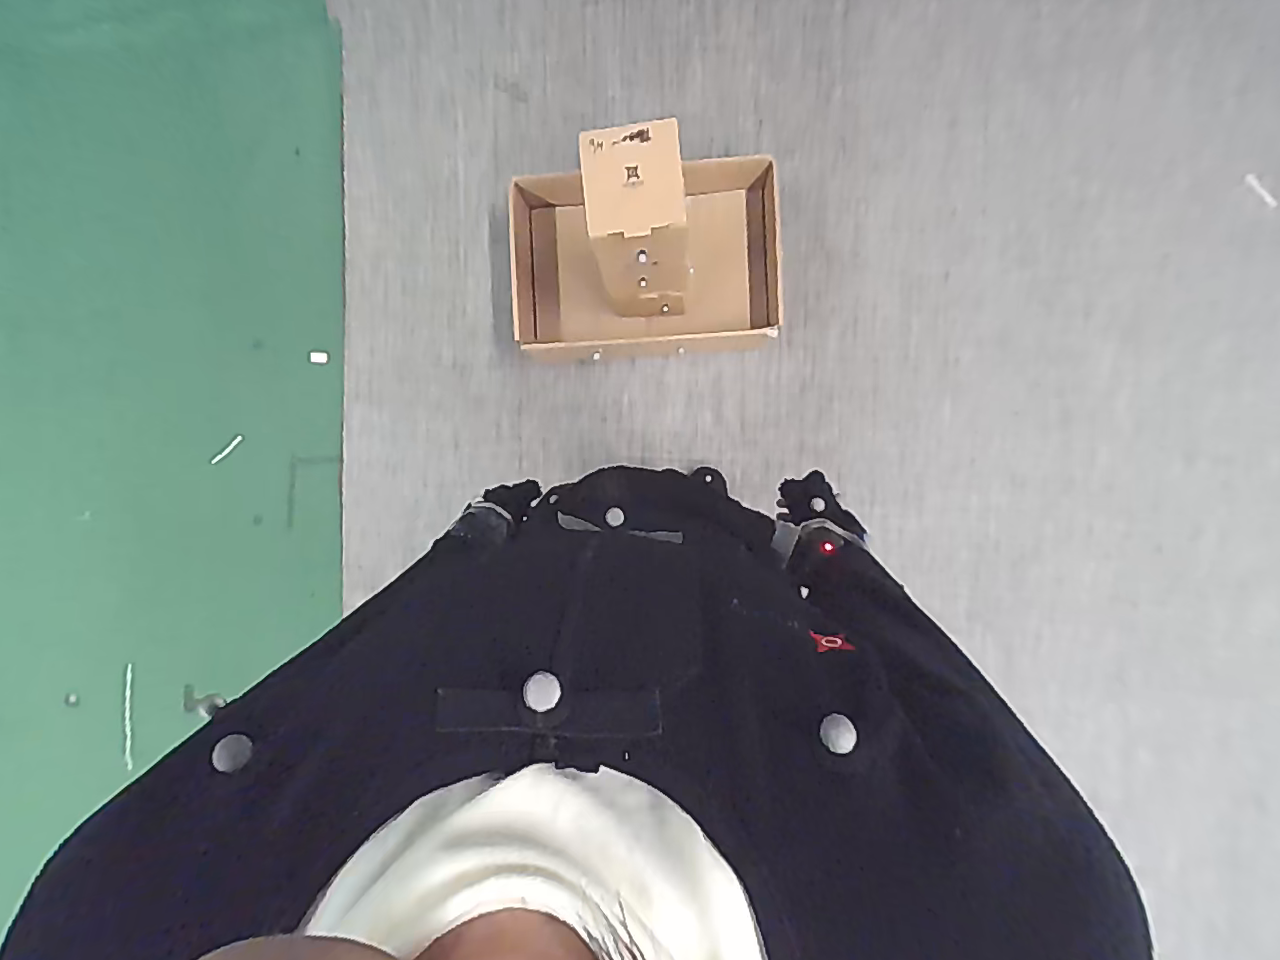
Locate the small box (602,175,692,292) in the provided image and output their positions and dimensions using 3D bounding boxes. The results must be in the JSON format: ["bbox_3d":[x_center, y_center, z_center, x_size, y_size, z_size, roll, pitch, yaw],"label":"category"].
[{"bbox_3d":[0.010,-0.507,1.129,0.179,0.176,0.168,-6,92,4],"label":"small box"}]

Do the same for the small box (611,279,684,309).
[{"bbox_3d":[0.021,-0.515,1.292,0.168,0.176,0.179,-1,91,4],"label":"small box"}]

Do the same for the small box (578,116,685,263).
[{"bbox_3d":[-0.008,-0.503,0.967,0.168,0.176,0.179,-5,92,5],"label":"small box"}]
